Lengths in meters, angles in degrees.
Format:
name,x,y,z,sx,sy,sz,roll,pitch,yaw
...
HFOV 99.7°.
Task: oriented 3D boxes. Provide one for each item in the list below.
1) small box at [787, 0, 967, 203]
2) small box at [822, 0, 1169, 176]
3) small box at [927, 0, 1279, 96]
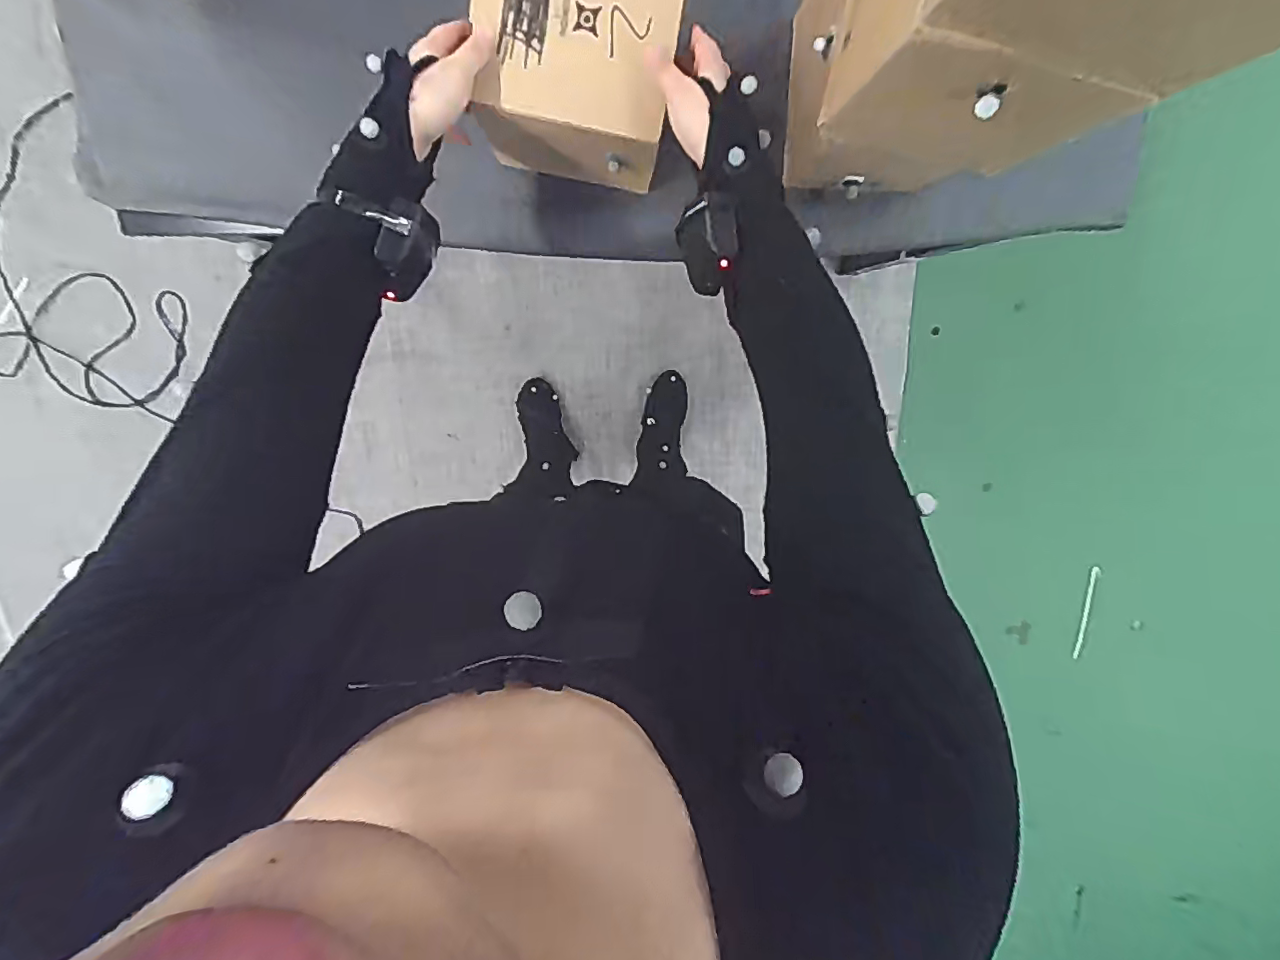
name,x,y,z,sx,sy,sz,roll,pitch,yaw
small box,0.257,-0.401,0.552,0.168,0.176,0.179,0,105,-2
small box,0.264,-0.347,0.399,0.179,0.176,0.168,11,103,-4
small box,0.274,-0.309,0.239,0.179,0.176,0.168,12,103,-4
